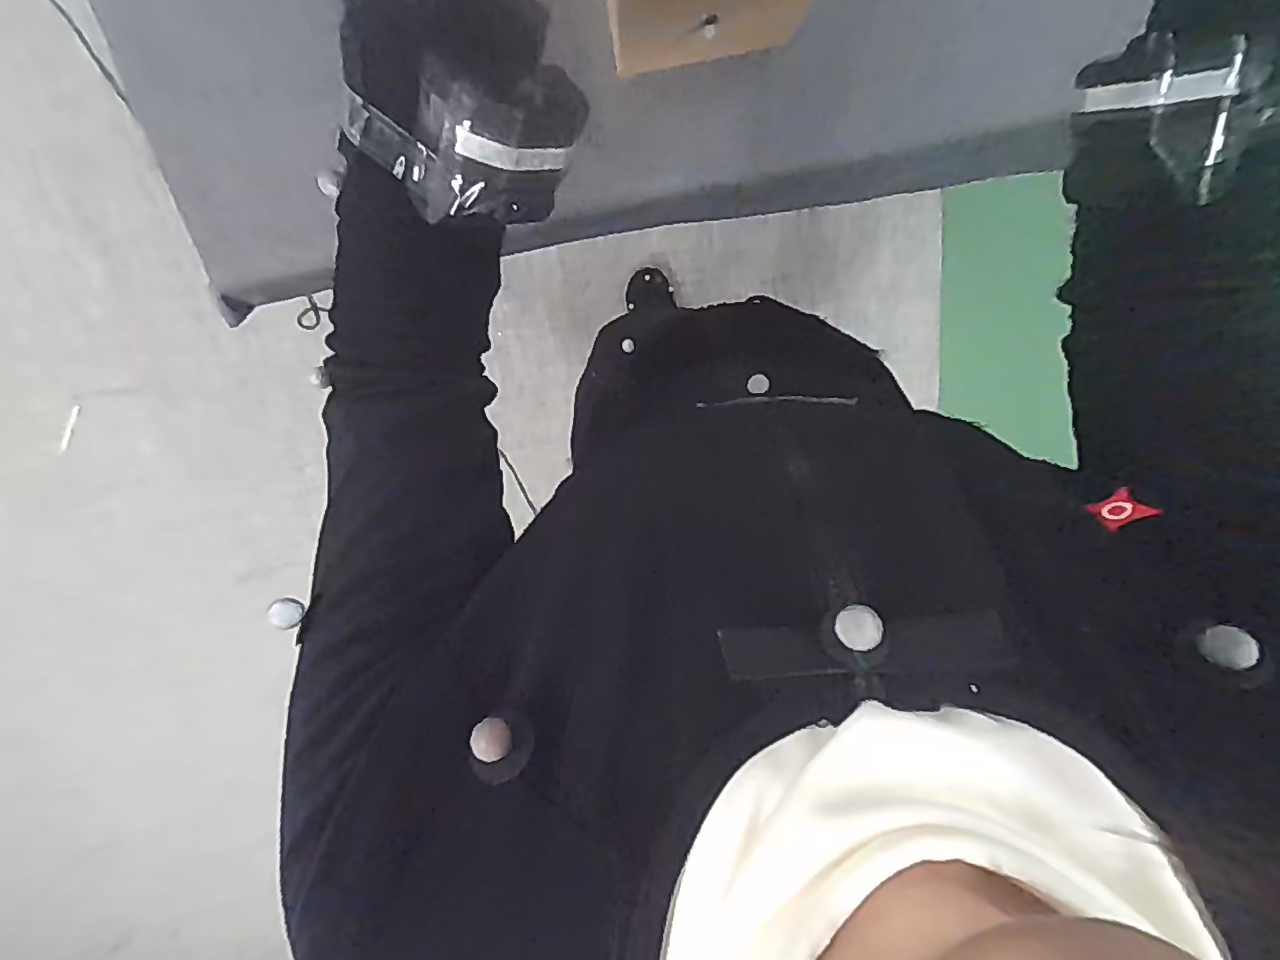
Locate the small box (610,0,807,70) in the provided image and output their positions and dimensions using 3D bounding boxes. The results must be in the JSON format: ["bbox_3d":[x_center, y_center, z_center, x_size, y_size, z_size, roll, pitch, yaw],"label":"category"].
[{"bbox_3d":[0.055,-0.474,0.439,0.179,0.176,0.168,-13,110,3],"label":"small box"}]
